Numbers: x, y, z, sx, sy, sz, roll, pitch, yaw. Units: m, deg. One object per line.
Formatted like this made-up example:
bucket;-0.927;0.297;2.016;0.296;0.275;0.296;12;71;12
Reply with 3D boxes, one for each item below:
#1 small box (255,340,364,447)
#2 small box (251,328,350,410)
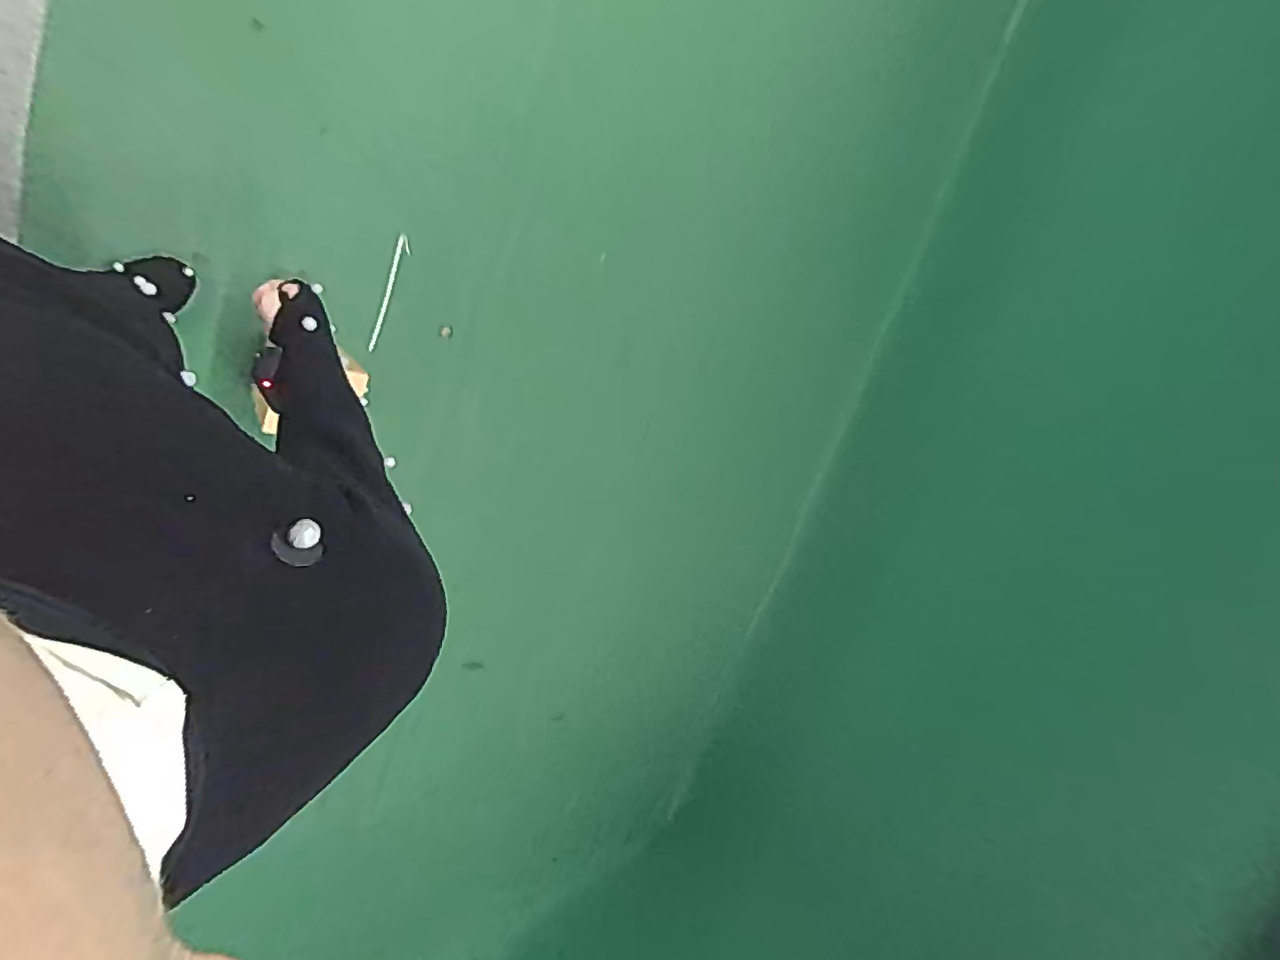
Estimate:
small box;-0.742;-0.194;1.206;0.168;0.176;0.179;13;102;-42
small box;-0.836;-0.253;1.325;0.168;0.176;0.179;14;102;-43
